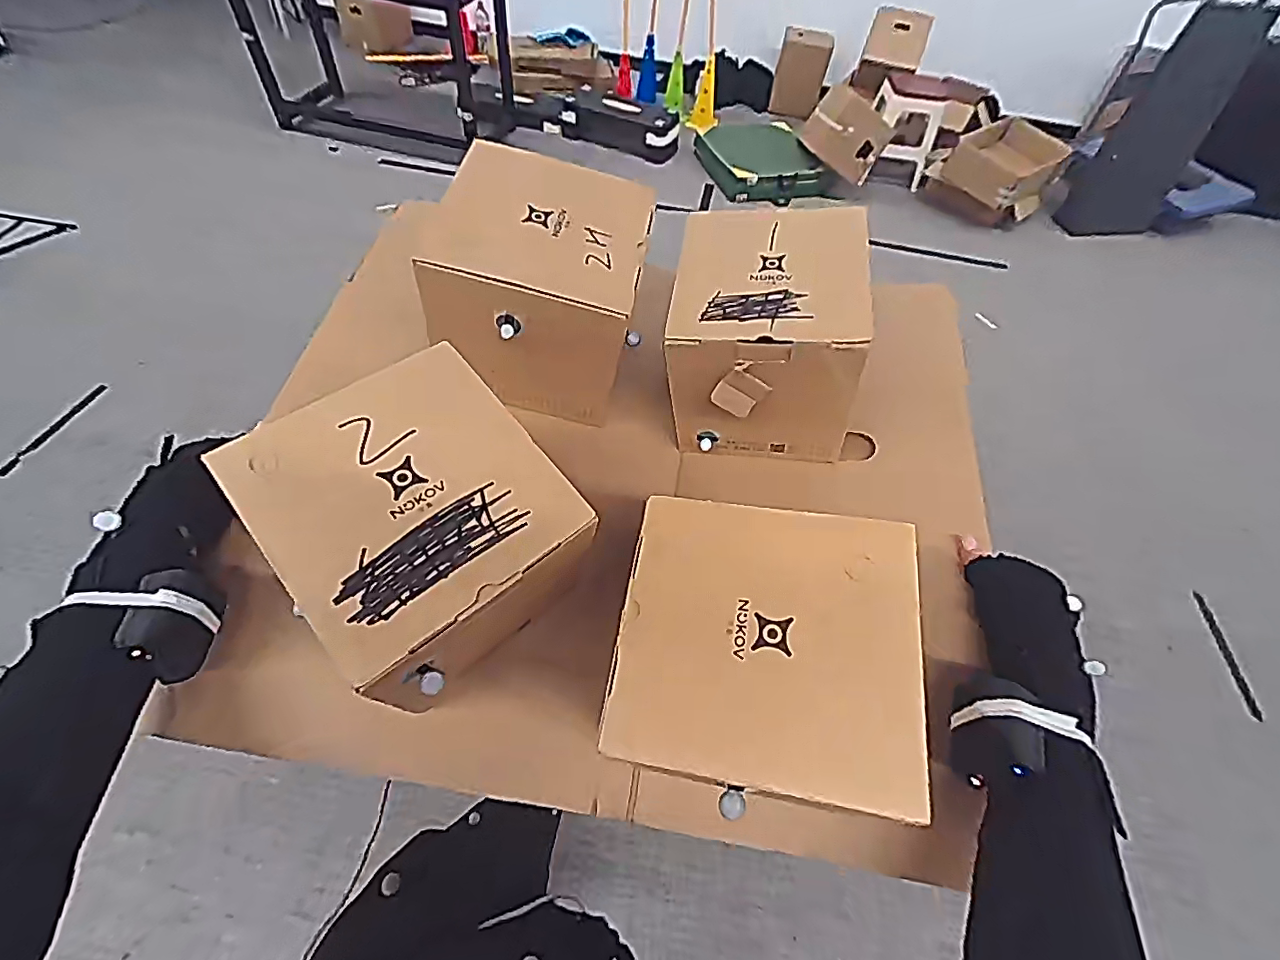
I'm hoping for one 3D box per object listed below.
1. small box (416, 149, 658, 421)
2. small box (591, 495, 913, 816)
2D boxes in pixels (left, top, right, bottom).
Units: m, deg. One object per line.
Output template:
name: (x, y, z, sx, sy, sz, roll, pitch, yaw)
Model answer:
small box: (-0.095, -0.180, 0.538, 0.179, 0.176, 0.168, 14, 62, -6)
small box: (0.083, 0.129, 0.398, 0.179, 0.176, 0.168, 6, 61, 14)
